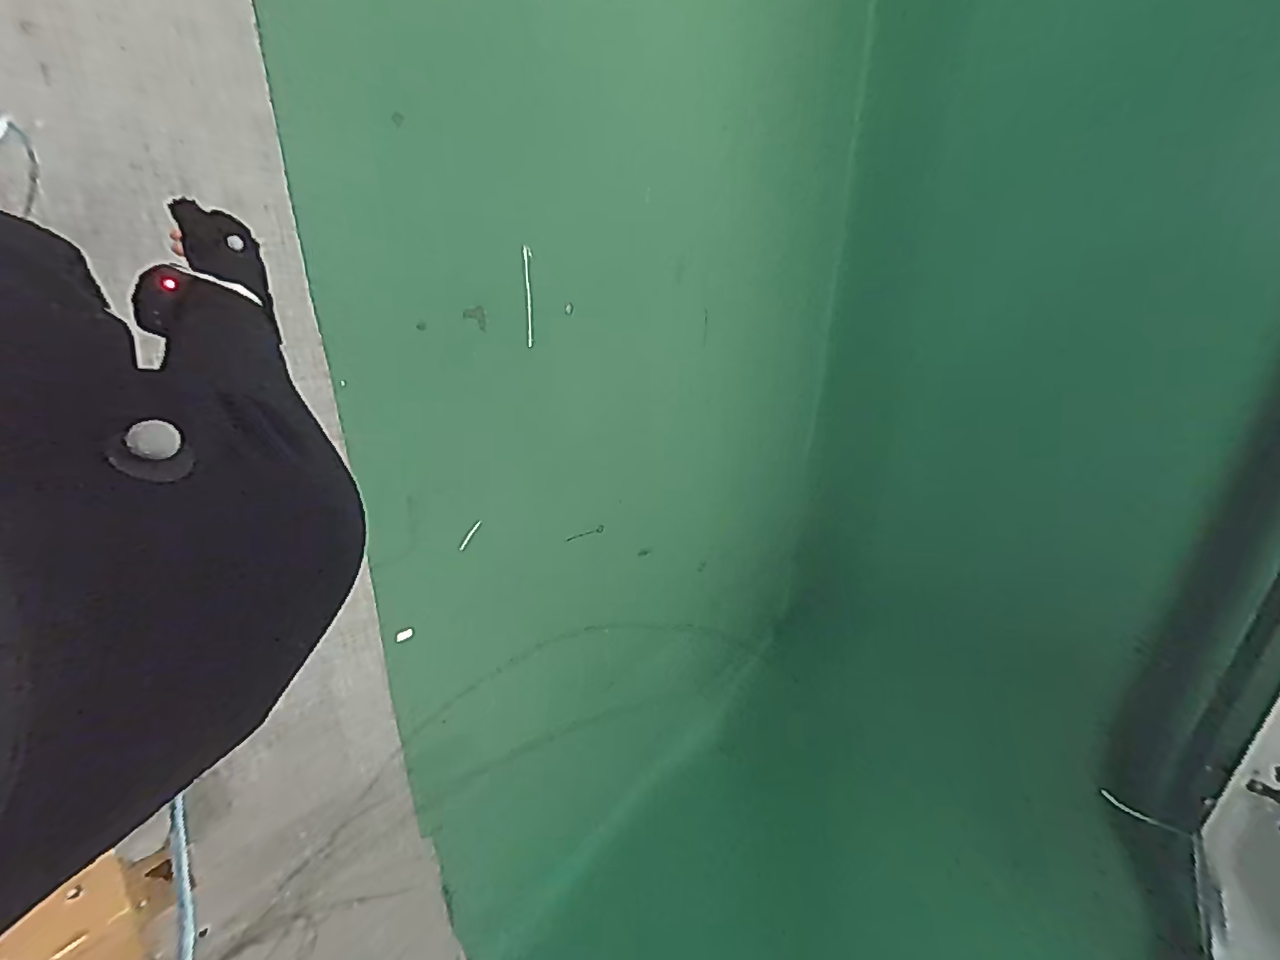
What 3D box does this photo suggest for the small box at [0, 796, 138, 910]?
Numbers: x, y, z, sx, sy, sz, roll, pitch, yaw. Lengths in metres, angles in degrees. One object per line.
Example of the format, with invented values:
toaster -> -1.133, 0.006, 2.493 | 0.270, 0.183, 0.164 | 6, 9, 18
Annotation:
small box -> -1.196, 0.821, 1.139 | 0.168, 0.176, 0.179 | -23, 124, -44

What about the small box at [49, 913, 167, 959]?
small box -> -0.950, 0.921, 0.949 | 0.168, 0.176, 0.179 | -25, 126, -42

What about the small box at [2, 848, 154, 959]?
small box -> -1.074, 0.869, 1.043 | 0.168, 0.176, 0.179 | -24, 124, -43
